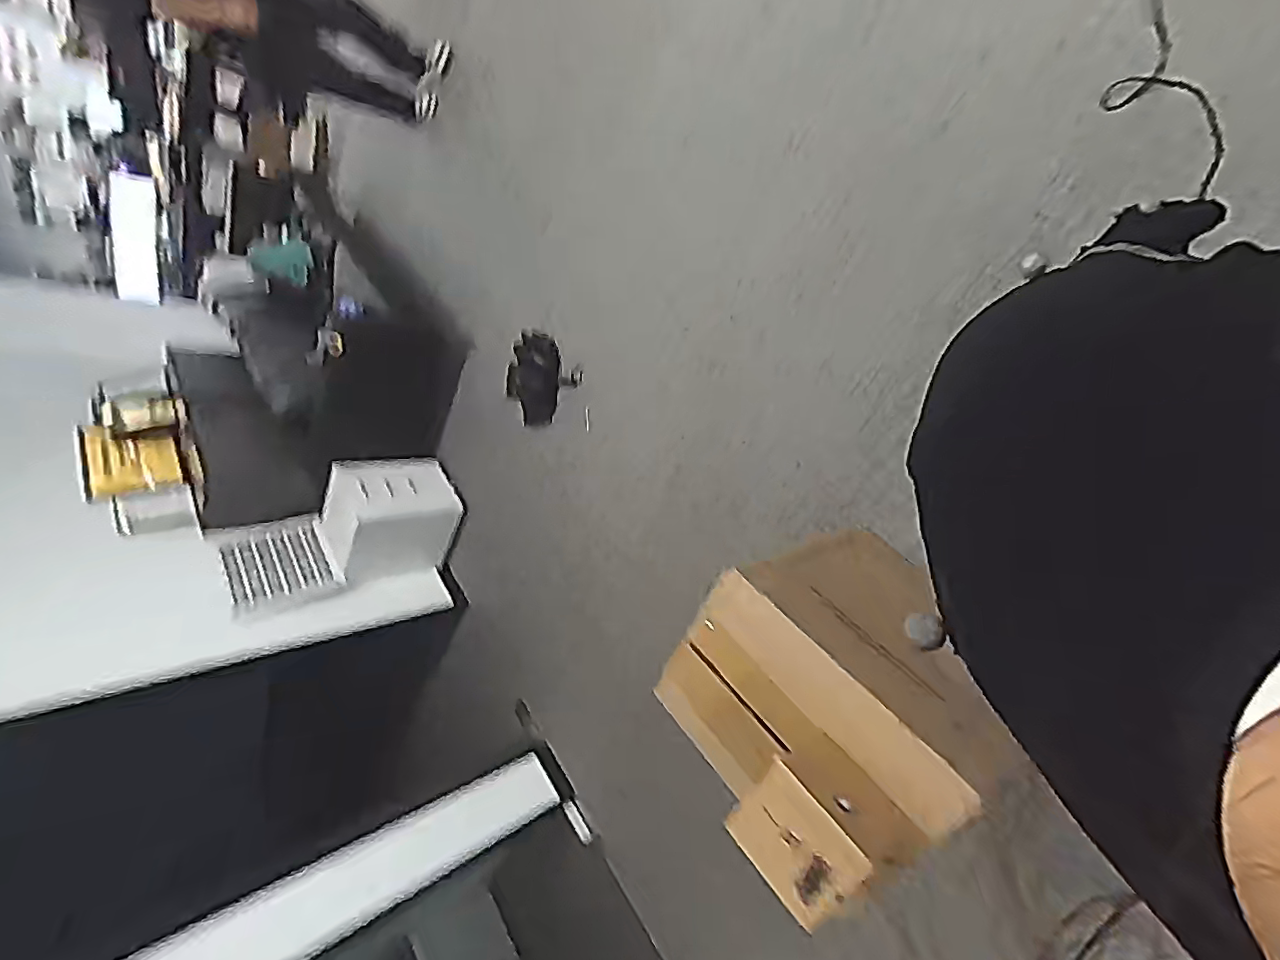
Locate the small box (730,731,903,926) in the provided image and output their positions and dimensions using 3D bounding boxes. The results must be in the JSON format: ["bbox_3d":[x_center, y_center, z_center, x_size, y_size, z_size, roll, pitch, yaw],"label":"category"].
[{"bbox_3d":[0.286,0.542,0.869,0.179,0.176,0.168,43,113,33],"label":"small box"}]
